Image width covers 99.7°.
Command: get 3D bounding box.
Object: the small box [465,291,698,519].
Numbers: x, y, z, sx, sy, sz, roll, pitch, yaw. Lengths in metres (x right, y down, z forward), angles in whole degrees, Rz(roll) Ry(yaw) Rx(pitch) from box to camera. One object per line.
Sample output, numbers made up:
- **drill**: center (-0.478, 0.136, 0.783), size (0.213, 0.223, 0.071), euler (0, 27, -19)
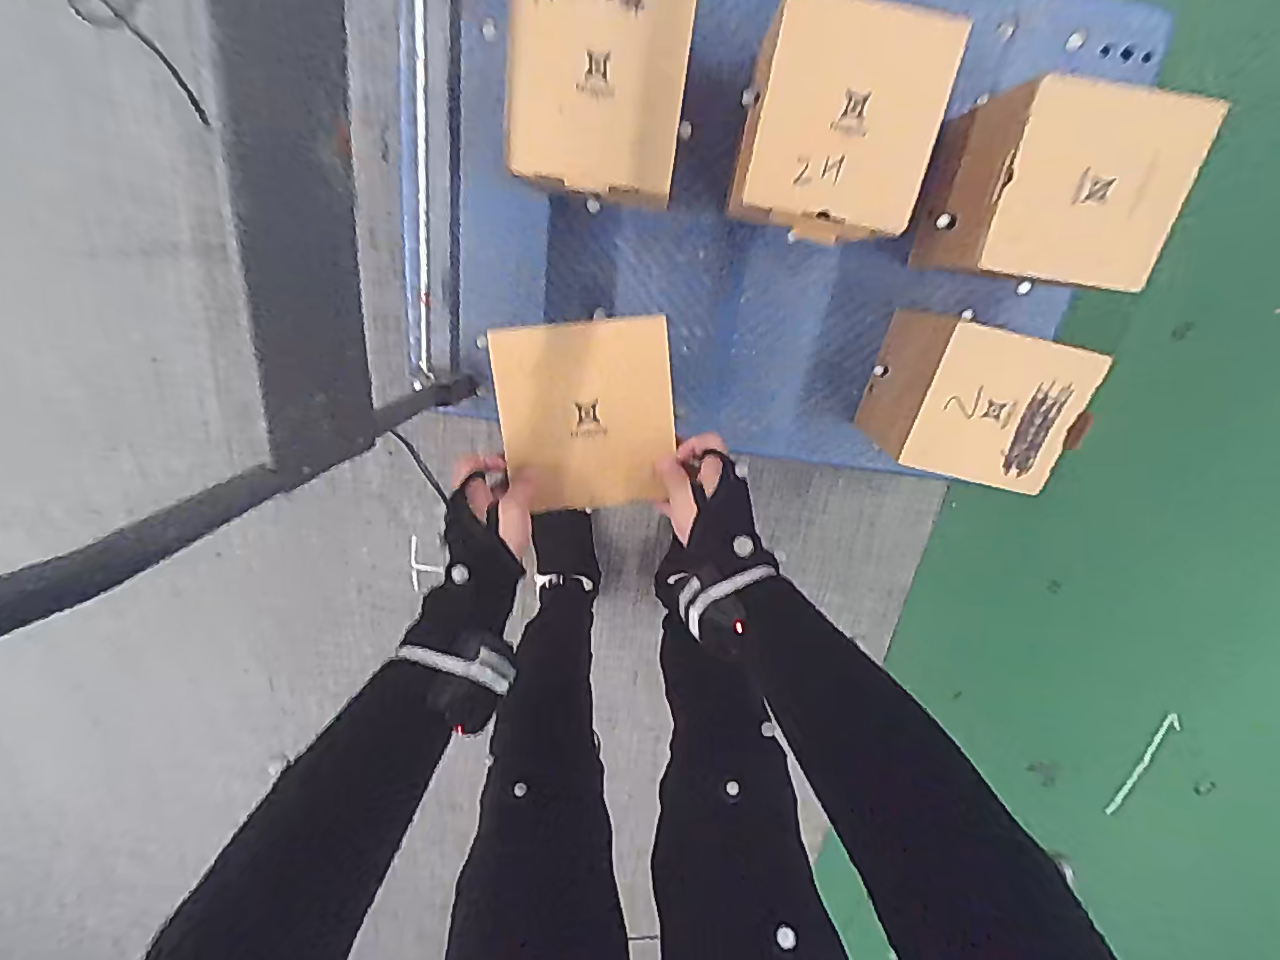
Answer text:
- **small box**: center (-0.060, -0.084, 0.593), size (0.179, 0.176, 0.168), euler (25, 102, -9)
